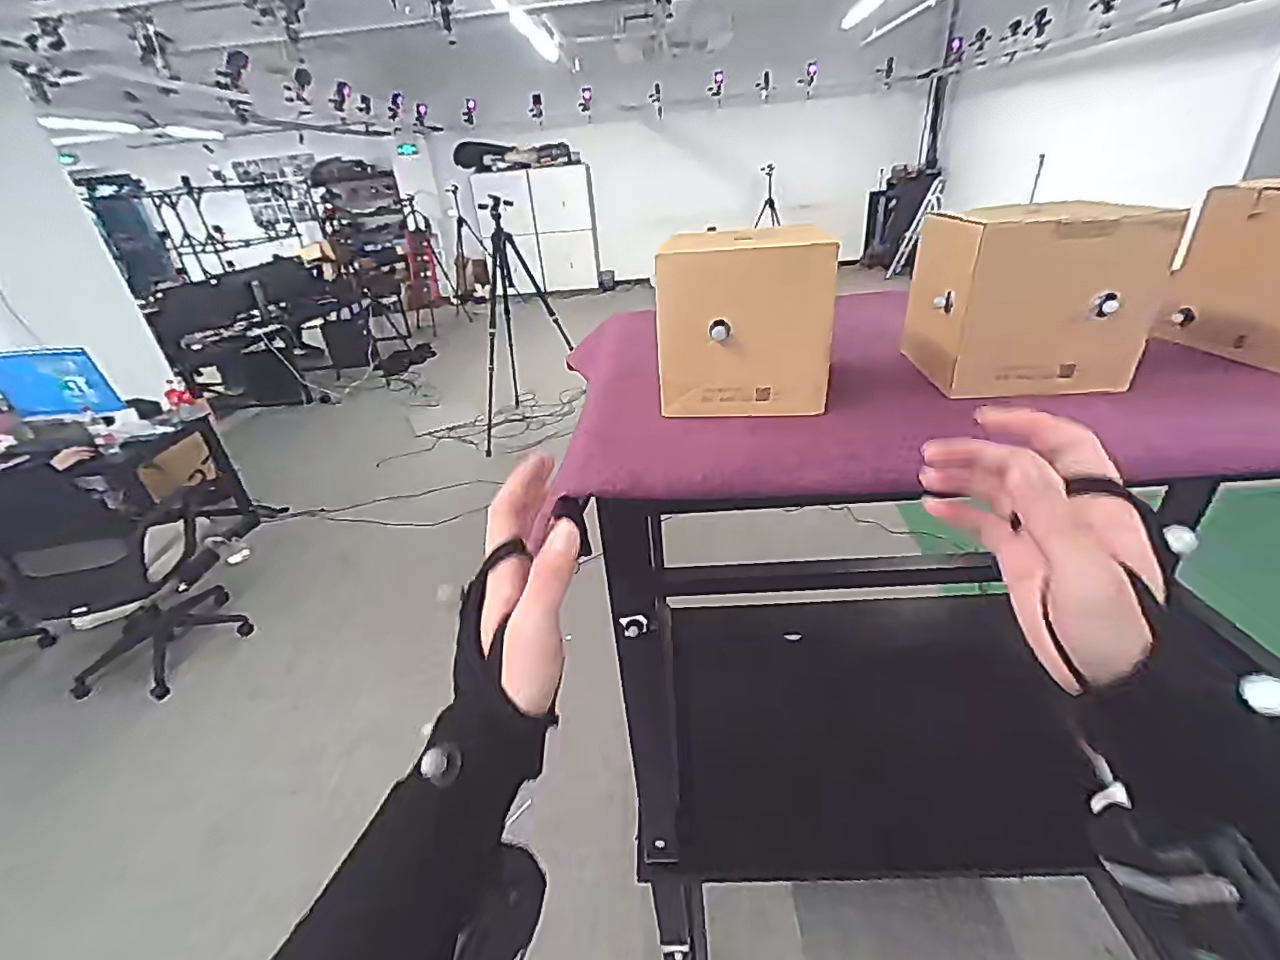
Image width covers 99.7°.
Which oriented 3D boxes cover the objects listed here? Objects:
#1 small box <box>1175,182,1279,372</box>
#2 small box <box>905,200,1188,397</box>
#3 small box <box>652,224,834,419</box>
[{"bbox_3d":[0.712,-0.212,0.552,0.179,0.176,0.168,-3,29,3],"label":"small box"},{"bbox_3d":[0.401,-0.193,0.576,0.168,0.176,0.179,0,29,9],"label":"small box"},{"bbox_3d":[0.111,-0.173,0.592,0.168,0.176,0.179,0,29,10],"label":"small box"}]
